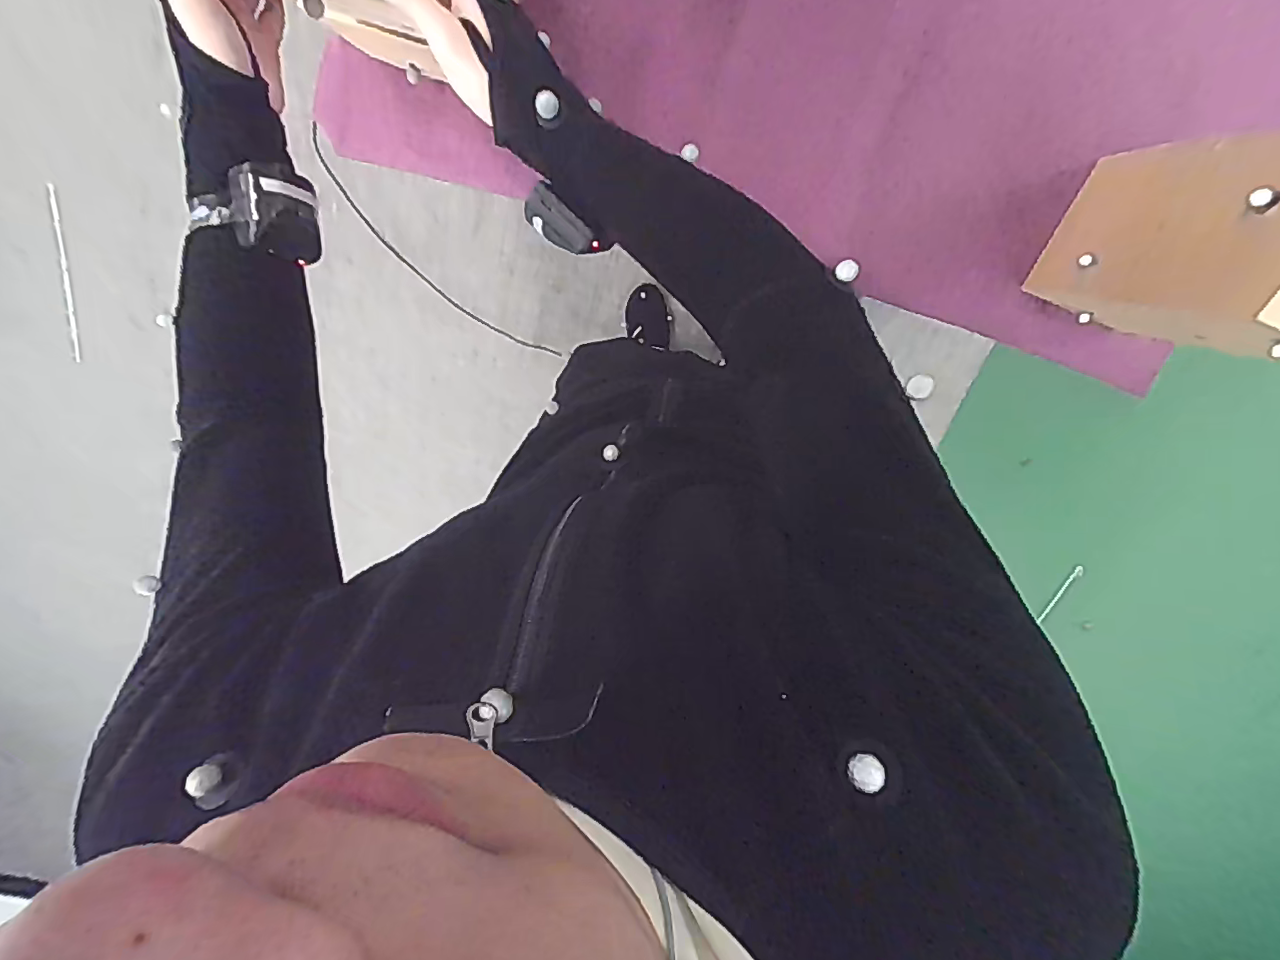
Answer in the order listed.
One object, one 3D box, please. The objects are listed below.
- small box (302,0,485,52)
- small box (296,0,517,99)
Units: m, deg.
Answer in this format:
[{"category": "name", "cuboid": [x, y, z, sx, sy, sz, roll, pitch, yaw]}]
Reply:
[{"category": "small box", "cuboid": [-0.207, -0.440, 0.381, 0.168, 0.176, 0.179, 14, 118, -5]}, {"category": "small box", "cuboid": [-0.233, -0.546, 0.573, 0.168, 0.176, 0.179, 15, 113, -5]}]
